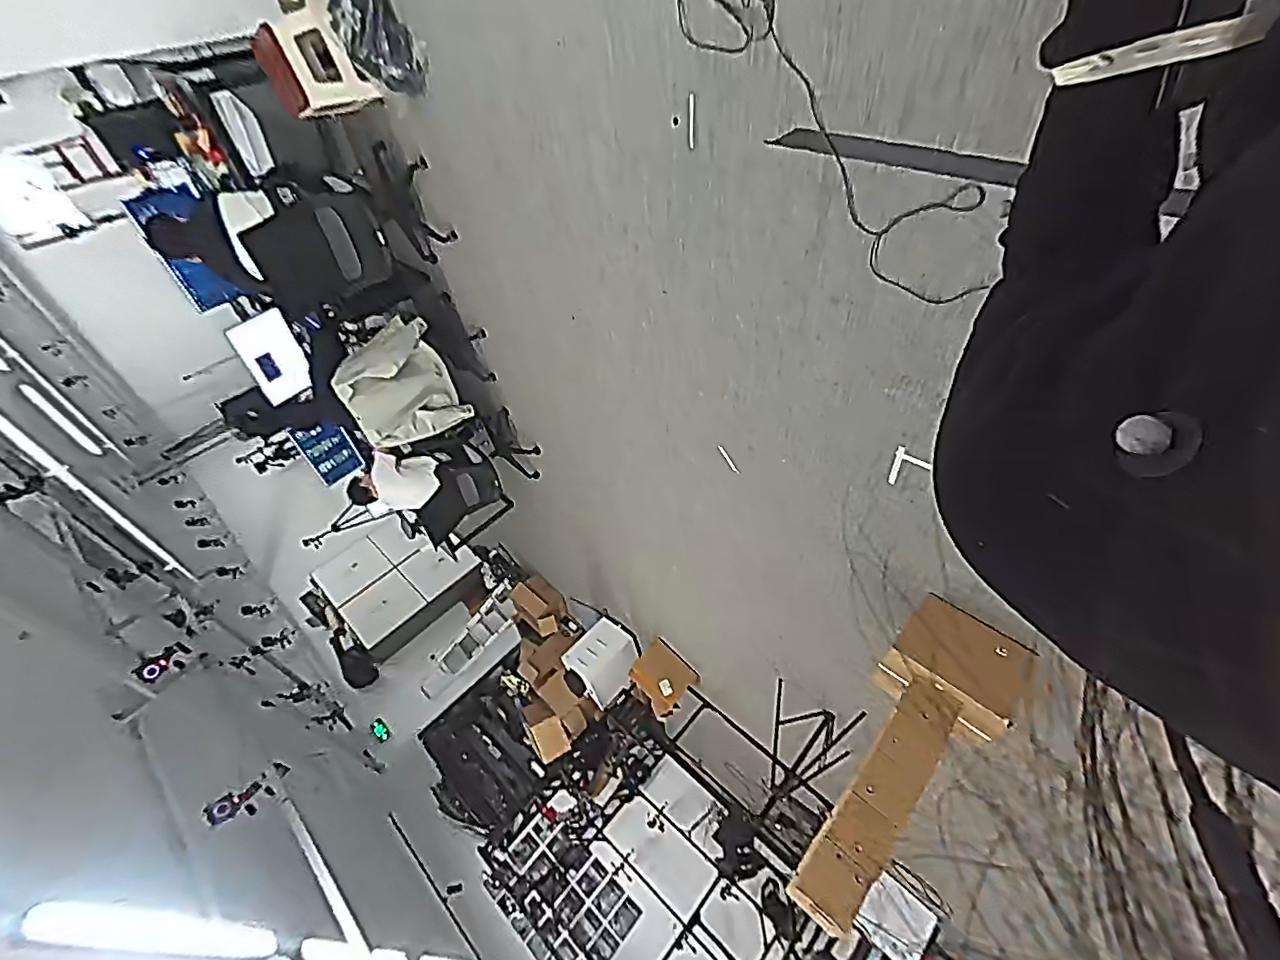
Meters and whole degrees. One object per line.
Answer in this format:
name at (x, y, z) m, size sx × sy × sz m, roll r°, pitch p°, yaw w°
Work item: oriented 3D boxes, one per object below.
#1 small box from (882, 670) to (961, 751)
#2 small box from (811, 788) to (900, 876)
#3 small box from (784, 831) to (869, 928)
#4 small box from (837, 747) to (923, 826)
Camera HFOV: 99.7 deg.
small box at (1.002, 0.813, 1.919) m, size 0.179 × 0.176 × 0.168 m, roll 33°, pitch 147°, yaw 31°
small box at (0.672, 1.097, 1.692) m, size 0.179 × 0.176 × 0.168 m, roll 34°, pitch 147°, yaw 27°
small box at (0.559, 1.190, 1.617) m, size 0.168 × 0.176 × 0.179 m, roll 34°, pitch 148°, yaw 27°
small box at (0.781, 1.004, 1.766) m, size 0.179 × 0.176 × 0.168 m, roll 34°, pitch 148°, yaw 27°
